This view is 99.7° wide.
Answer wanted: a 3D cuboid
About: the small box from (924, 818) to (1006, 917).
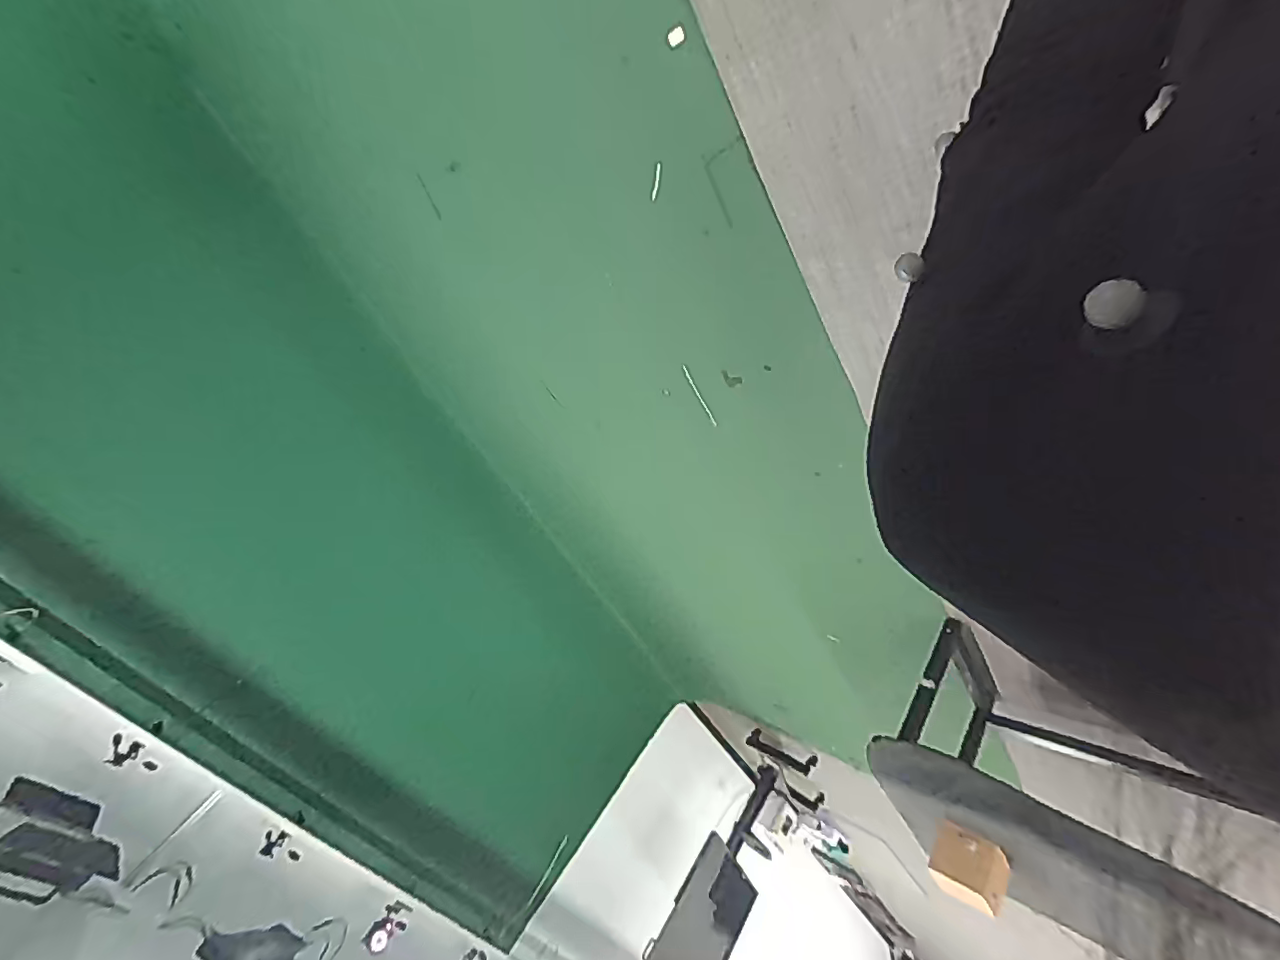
[{"bbox_3d":[1.048,1.235,1.734,0.168,0.176,0.179,-1,130,51],"label":"small box"}]
